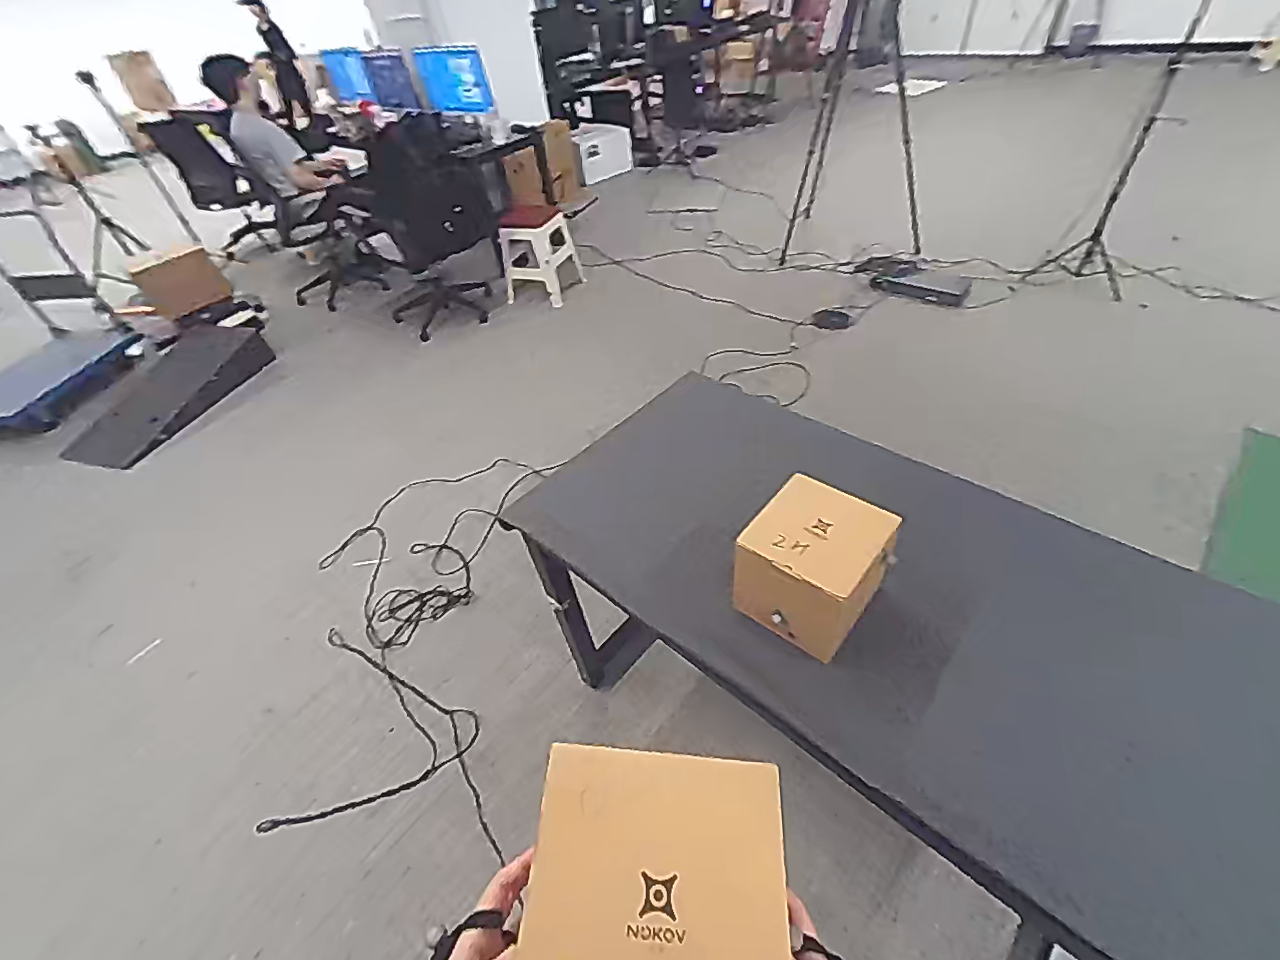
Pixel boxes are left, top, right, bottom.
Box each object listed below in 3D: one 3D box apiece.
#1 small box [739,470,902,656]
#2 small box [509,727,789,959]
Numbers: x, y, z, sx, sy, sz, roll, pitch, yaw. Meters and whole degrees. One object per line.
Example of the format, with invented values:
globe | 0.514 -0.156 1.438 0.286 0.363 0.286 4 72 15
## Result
small box | 0.259 0.122 0.809 0.168 0.176 0.179 28 54 33
small box | 0.003 0.303 0.396 0.168 0.176 0.179 5 51 0
